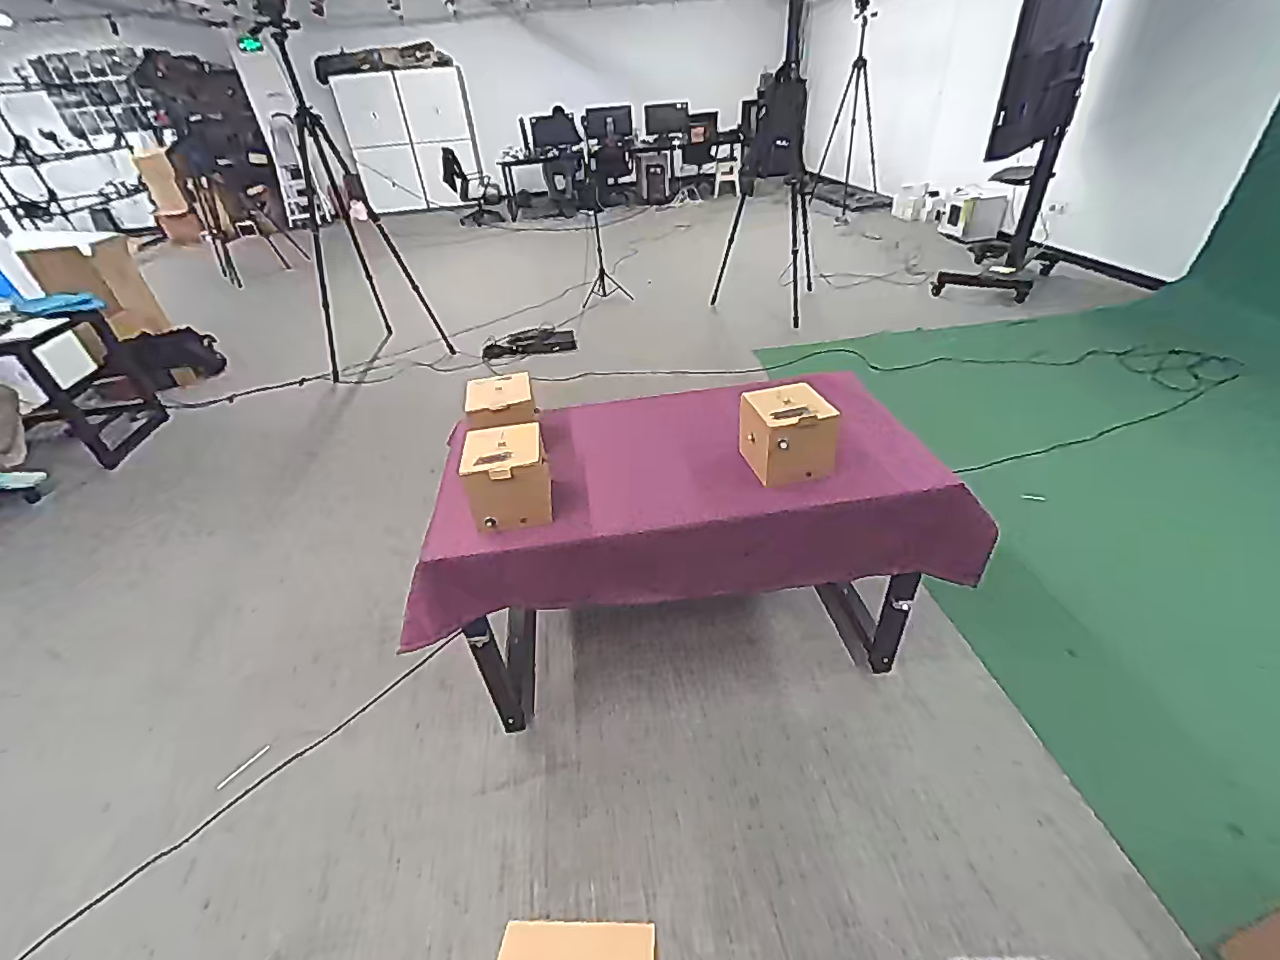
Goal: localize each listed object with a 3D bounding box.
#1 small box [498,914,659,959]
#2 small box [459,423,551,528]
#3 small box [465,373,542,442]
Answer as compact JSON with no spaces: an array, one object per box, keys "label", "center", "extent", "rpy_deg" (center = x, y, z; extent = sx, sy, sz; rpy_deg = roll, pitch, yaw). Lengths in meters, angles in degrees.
[{"label":"small box","center":[-0.064,0.585,0.541],"extent":[0.168,0.176,0.179],"rpy_deg":[-4,20,6]},{"label":"small box","center":[-0.296,-0.005,1.224],"extent":[0.168,0.176,0.179],"rpy_deg":[-8,35,-5]},{"label":"small box","center":[-0.360,-0.163,1.445],"extent":[0.168,0.176,0.179],"rpy_deg":[-10,38,-7]}]
